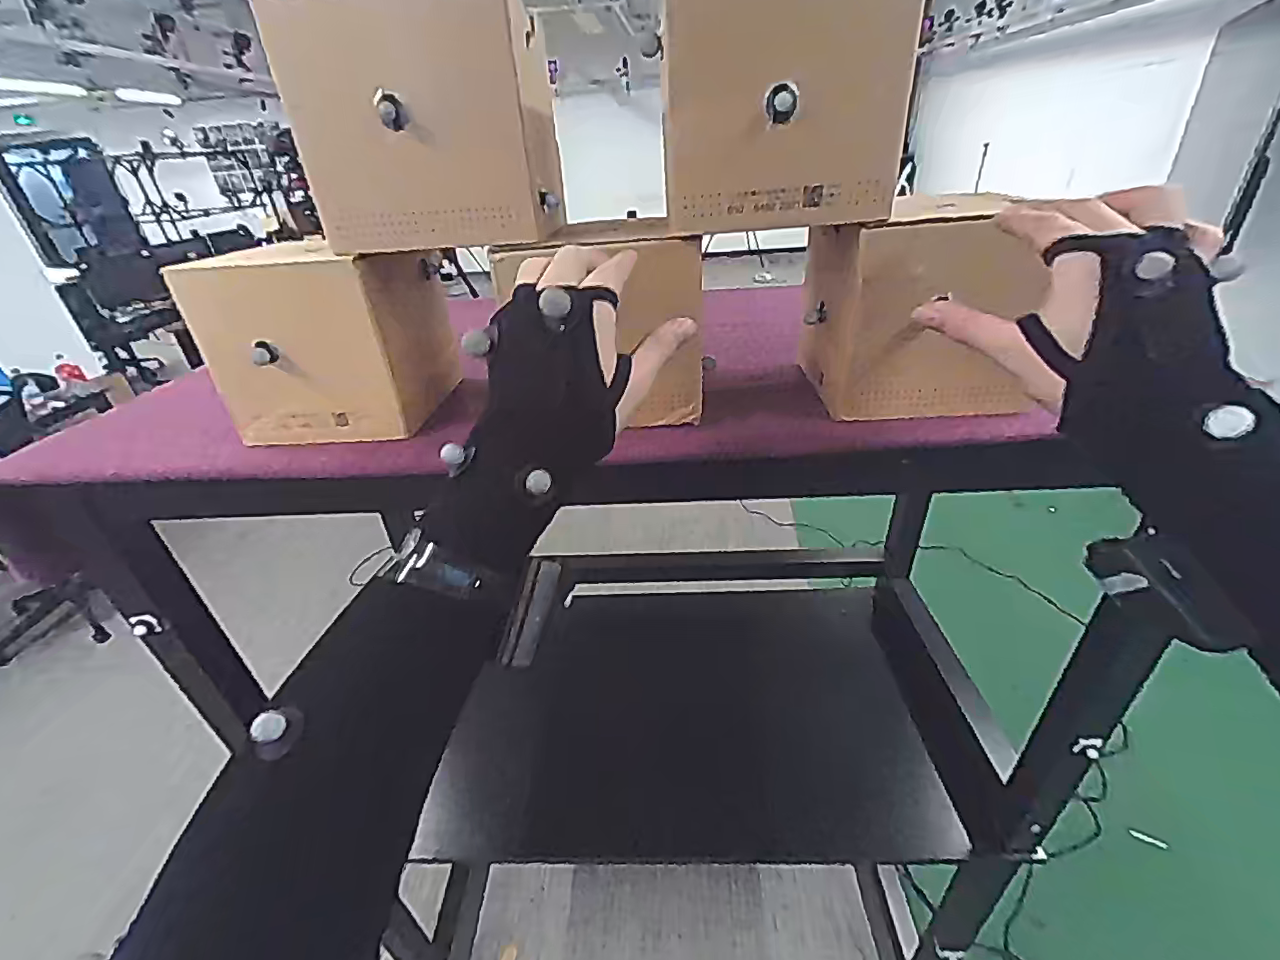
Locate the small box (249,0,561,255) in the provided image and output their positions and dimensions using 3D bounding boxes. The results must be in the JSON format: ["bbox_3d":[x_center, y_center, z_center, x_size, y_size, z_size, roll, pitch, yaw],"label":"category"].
[{"bbox_3d":[-0.171,-0.300,0.468,0.179,0.176,0.168,-4,31,2],"label":"small box"}]

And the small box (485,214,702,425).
[{"bbox_3d":[-0.030,-0.161,0.537,0.179,0.176,0.168,-2,31,4],"label":"small box"}]

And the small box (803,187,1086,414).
[{"bbox_3d":[0.260,-0.171,0.516,0.179,0.176,0.168,-4,33,4],"label":"small box"}]

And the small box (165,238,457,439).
[{"bbox_3d":[-0.304,-0.148,0.551,0.168,0.176,0.179,-3,30,3],"label":"small box"}]

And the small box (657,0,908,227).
[{"bbox_3d":[0.101,-0.306,0.441,0.168,0.176,0.179,-3,31,3],"label":"small box"}]
